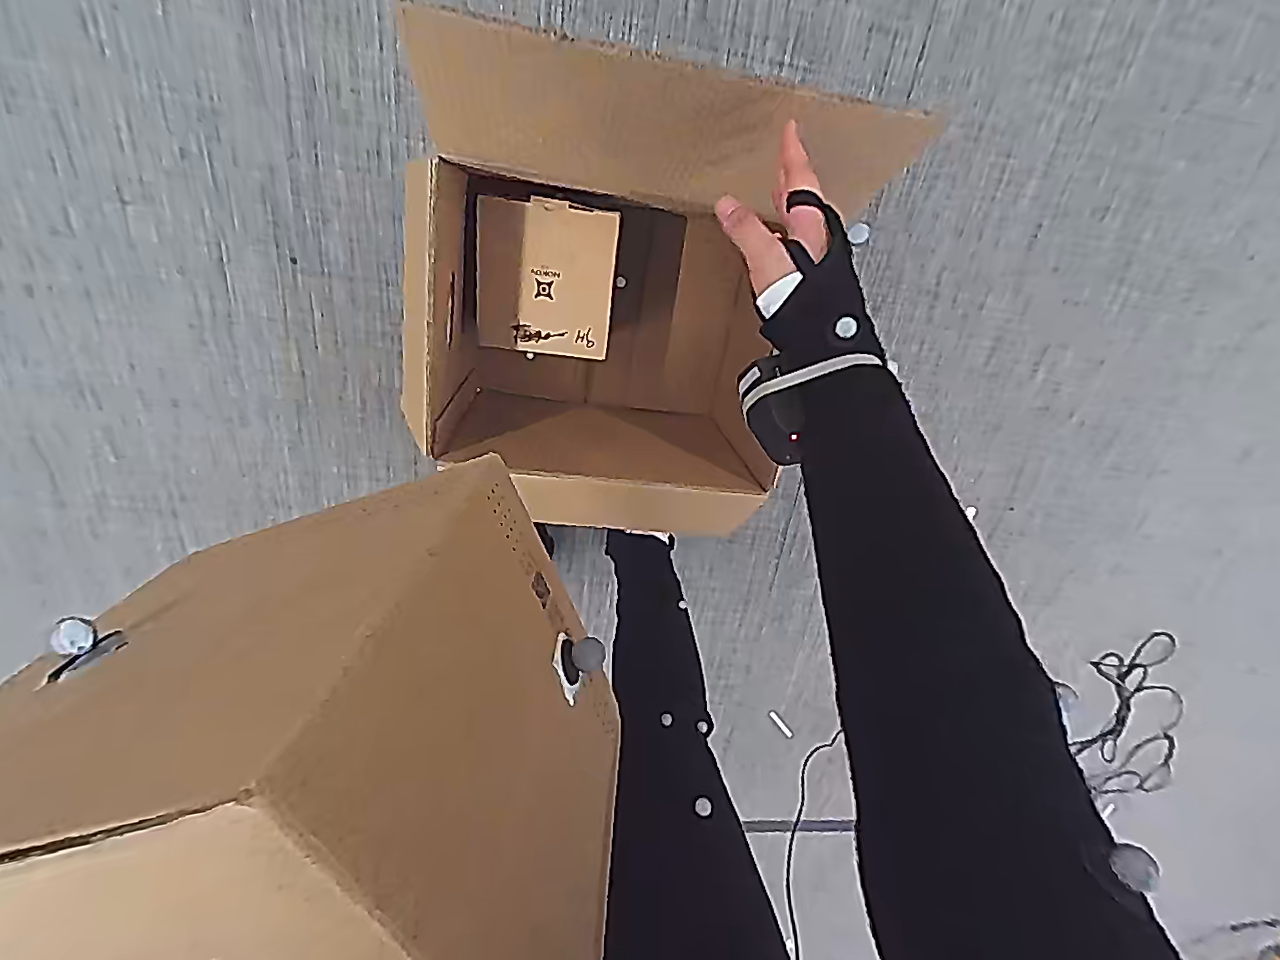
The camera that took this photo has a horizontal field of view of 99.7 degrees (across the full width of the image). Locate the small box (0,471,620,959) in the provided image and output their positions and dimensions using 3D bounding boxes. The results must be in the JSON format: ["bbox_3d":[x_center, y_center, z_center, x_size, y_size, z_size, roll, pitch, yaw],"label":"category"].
[{"bbox_3d":[-0.118,0.119,0.229,0.179,0.176,0.168,-18,114,9],"label":"small box"}]
